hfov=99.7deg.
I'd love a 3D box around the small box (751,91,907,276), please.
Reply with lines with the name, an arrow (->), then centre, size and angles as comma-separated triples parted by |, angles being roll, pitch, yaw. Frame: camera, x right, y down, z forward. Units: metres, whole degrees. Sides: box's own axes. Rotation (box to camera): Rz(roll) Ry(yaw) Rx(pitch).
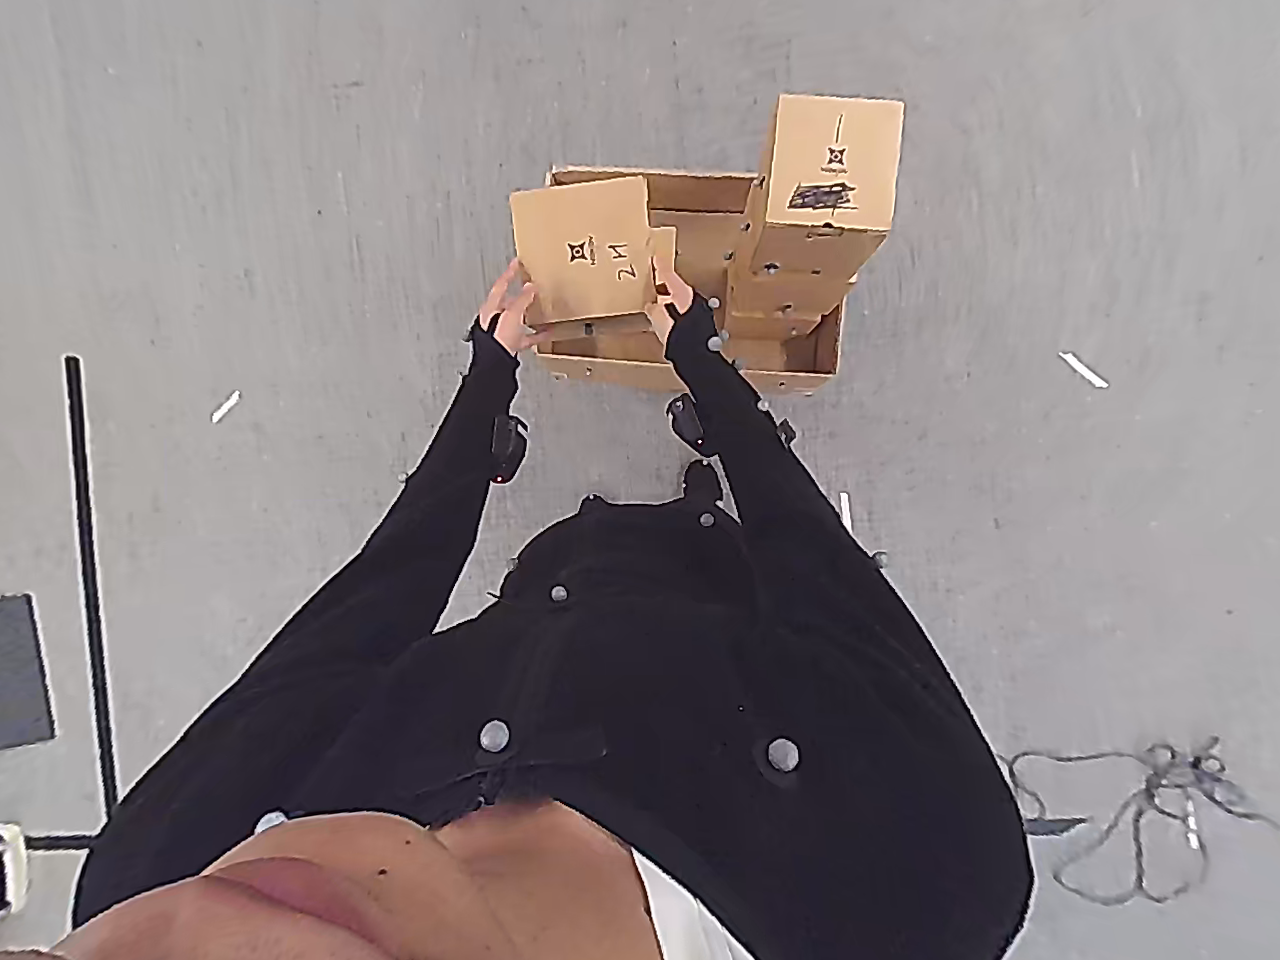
small box -> 0.259, -0.413, 0.781 | 0.168, 0.176, 0.179 | 6, 90, 3

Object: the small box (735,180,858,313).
small box -> 0.269, -0.399, 0.946 | 0.179, 0.176, 0.168 | 2, 90, 3

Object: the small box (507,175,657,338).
small box -> -0.070, -0.298, 0.756 | 0.179, 0.176, 0.168 | -5, 98, 3

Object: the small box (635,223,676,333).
small box -> -0.011, -0.414, 1.131 | 0.168, 0.176, 0.179 | 3, 90, 3
